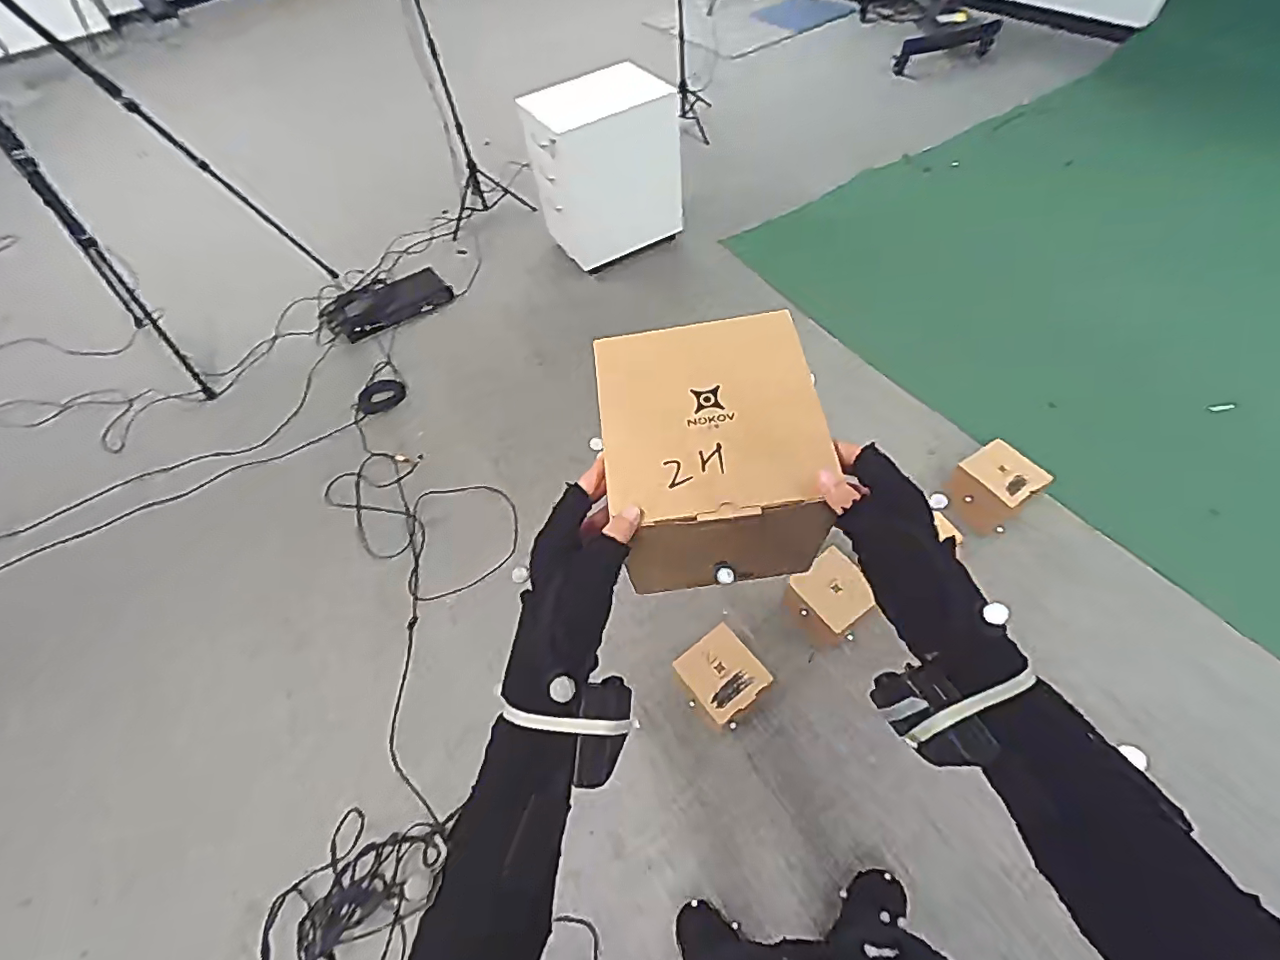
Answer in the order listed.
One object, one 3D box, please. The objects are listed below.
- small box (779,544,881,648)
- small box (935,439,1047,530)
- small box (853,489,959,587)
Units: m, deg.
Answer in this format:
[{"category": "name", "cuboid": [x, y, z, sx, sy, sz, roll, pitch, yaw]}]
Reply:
[{"category": "small box", "cuboid": [0.484, 0.306, 1.409, 0.168, 0.176, 0.179, -33, 60, -14]}, {"category": "small box", "cuboid": [0.997, 0.022, 1.552, 0.168, 0.176, 0.179, -28, 57, -13]}, {"category": "small box", "cuboid": [0.718, 0.162, 1.485, 0.168, 0.176, 0.179, -24, 57, -11]}]
